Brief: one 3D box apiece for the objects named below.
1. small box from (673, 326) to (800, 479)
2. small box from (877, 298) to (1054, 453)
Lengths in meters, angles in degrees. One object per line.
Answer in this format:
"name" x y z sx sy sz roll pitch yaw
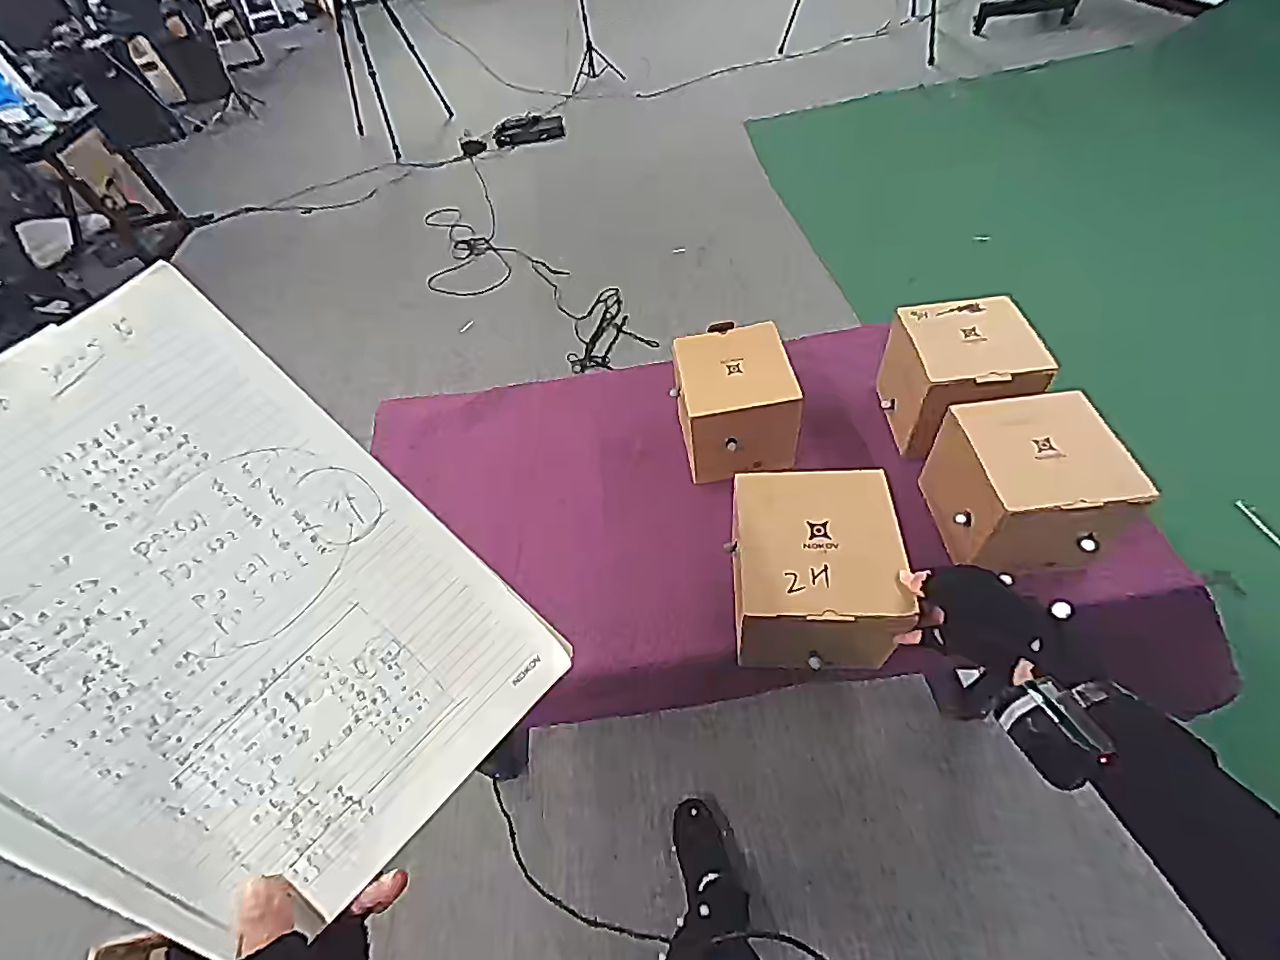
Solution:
"small box" 0.153 -0.117 0.880 0.168 0.176 0.179 -10 51 3
"small box" 0.489 -0.155 0.846 0.168 0.176 0.179 -4 53 7
